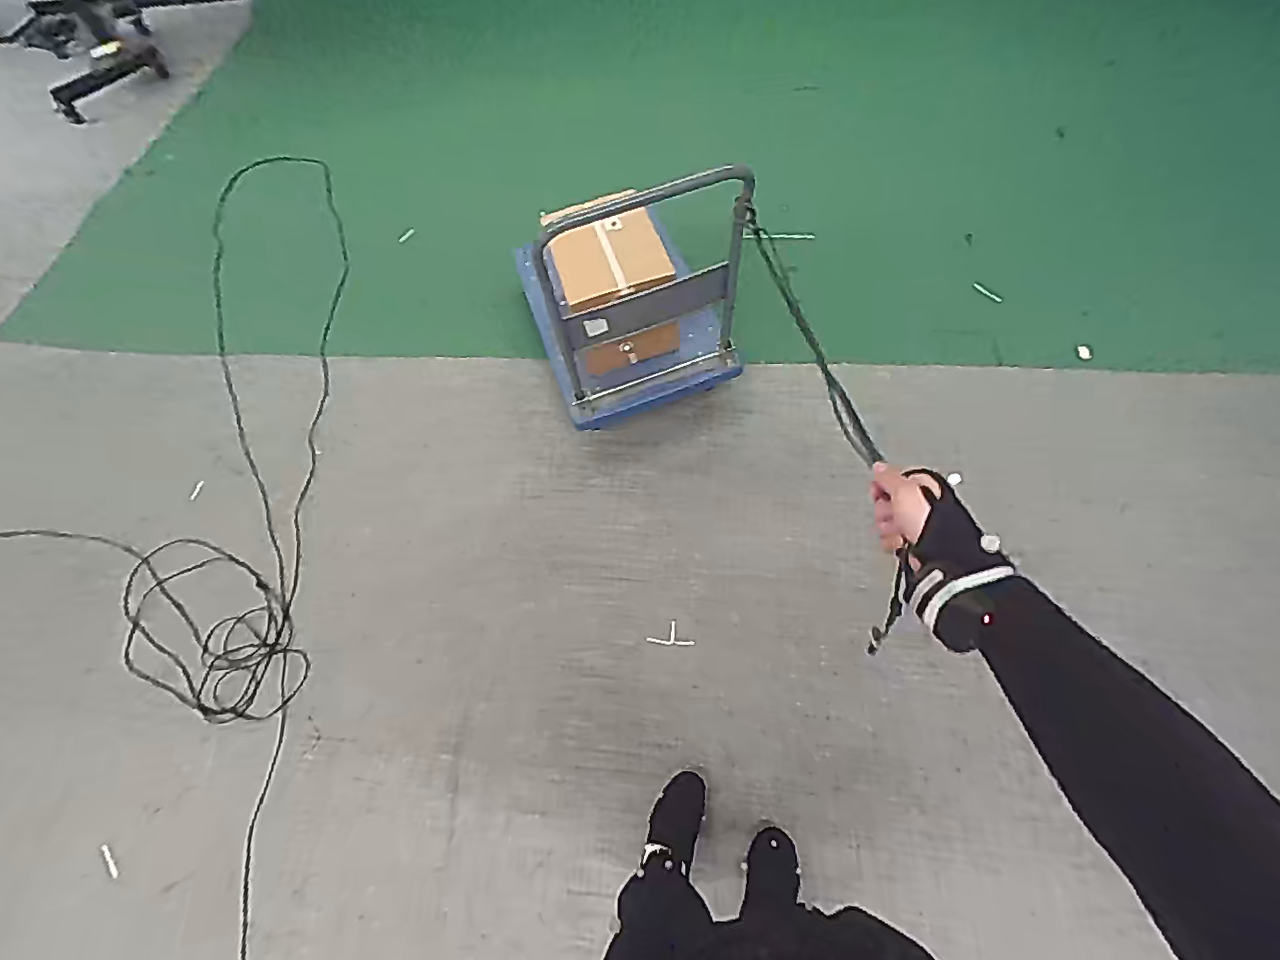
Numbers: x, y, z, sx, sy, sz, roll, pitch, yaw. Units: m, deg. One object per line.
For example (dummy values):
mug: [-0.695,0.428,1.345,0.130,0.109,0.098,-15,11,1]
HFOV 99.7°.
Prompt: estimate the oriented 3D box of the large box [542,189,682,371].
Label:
large box: [-0.080,-0.623,1.703,0.320,0.320,0.408,-18,62,-3]
